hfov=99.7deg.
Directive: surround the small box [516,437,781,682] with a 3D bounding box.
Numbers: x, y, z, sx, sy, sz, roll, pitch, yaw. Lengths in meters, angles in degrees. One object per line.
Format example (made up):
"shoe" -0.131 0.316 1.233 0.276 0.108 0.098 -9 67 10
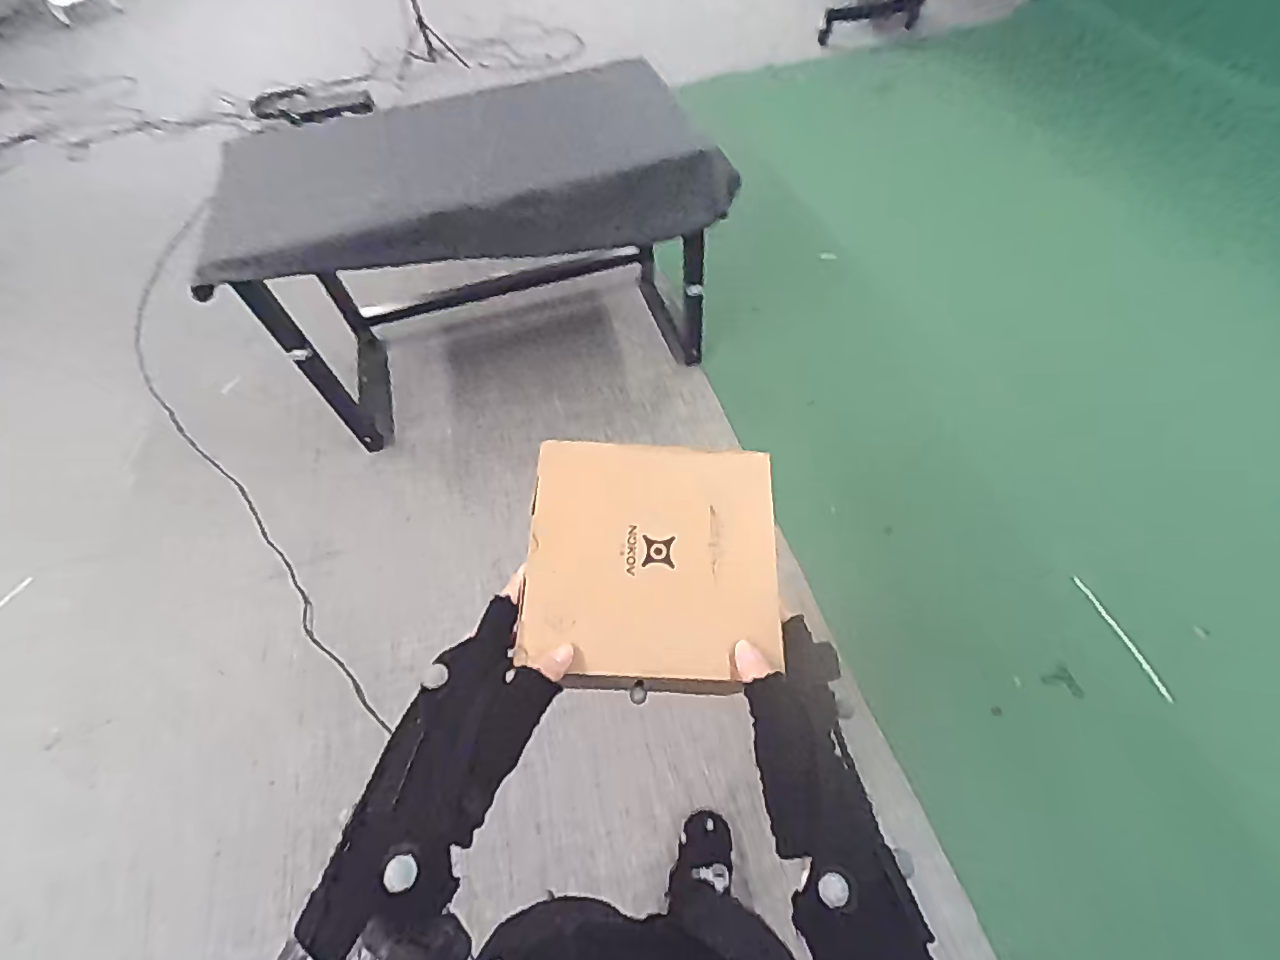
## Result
"small box" 0.003 0.077 0.452 0.179 0.176 0.168 2 67 -4
